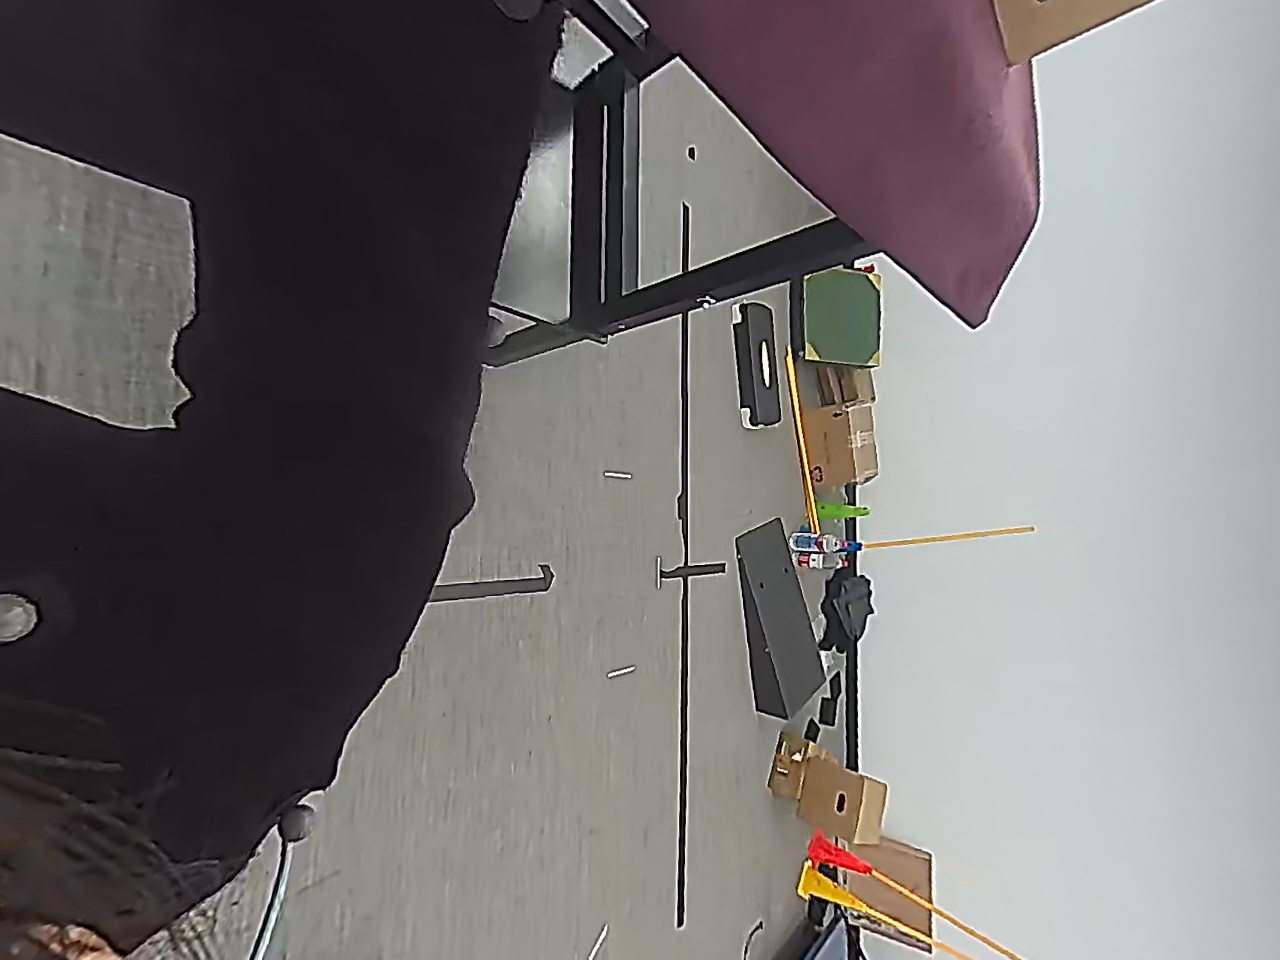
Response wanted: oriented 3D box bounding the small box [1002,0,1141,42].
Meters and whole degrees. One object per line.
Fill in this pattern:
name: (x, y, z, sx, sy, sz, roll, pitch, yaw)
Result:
small box: (0.403, -0.532, 0.462, 0.179, 0.176, 0.168, 8, 81, -47)
